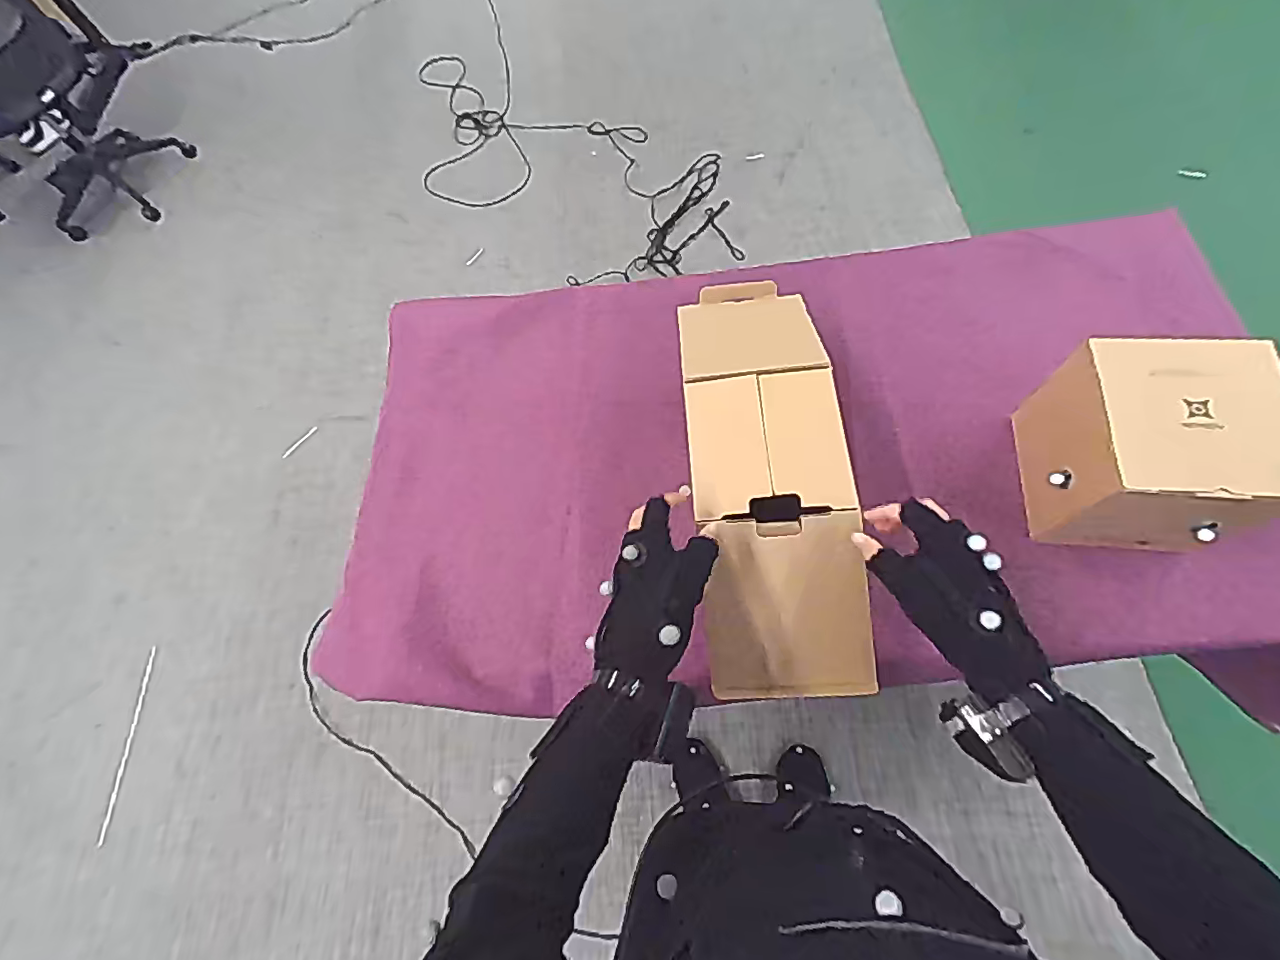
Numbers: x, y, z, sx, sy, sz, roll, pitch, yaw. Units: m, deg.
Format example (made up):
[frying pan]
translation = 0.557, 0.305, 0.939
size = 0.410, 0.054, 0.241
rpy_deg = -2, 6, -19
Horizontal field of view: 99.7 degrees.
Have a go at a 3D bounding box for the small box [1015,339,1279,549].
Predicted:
[small box]
translation = 0.547, -0.032, 0.591
size = 0.168, 0.176, 0.179
rpy_deg = 4, 67, 10
